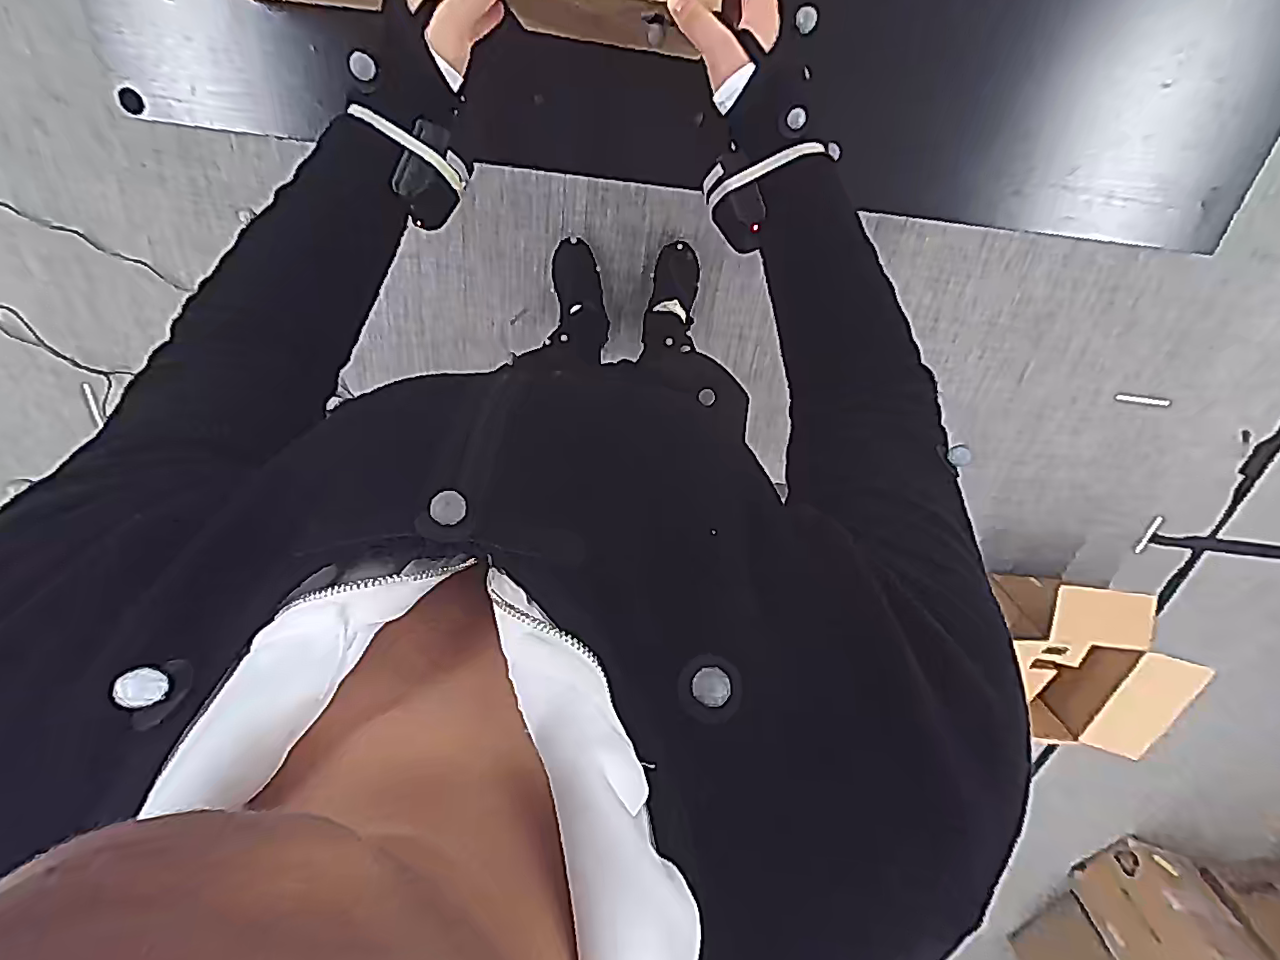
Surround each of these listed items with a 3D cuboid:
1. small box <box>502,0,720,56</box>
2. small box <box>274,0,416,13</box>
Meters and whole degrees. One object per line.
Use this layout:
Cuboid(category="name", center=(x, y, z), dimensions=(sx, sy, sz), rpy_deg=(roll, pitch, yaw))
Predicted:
Cuboid(category="small box", center=(-0.018, -0.462, 0.427), dimensions=(0.179, 0.176, 0.168), rpy_deg=(7, 118, -3))
Cuboid(category="small box", center=(-0.289, -0.489, 0.412), dimensions=(0.179, 0.176, 0.168), rpy_deg=(4, 118, -2))
